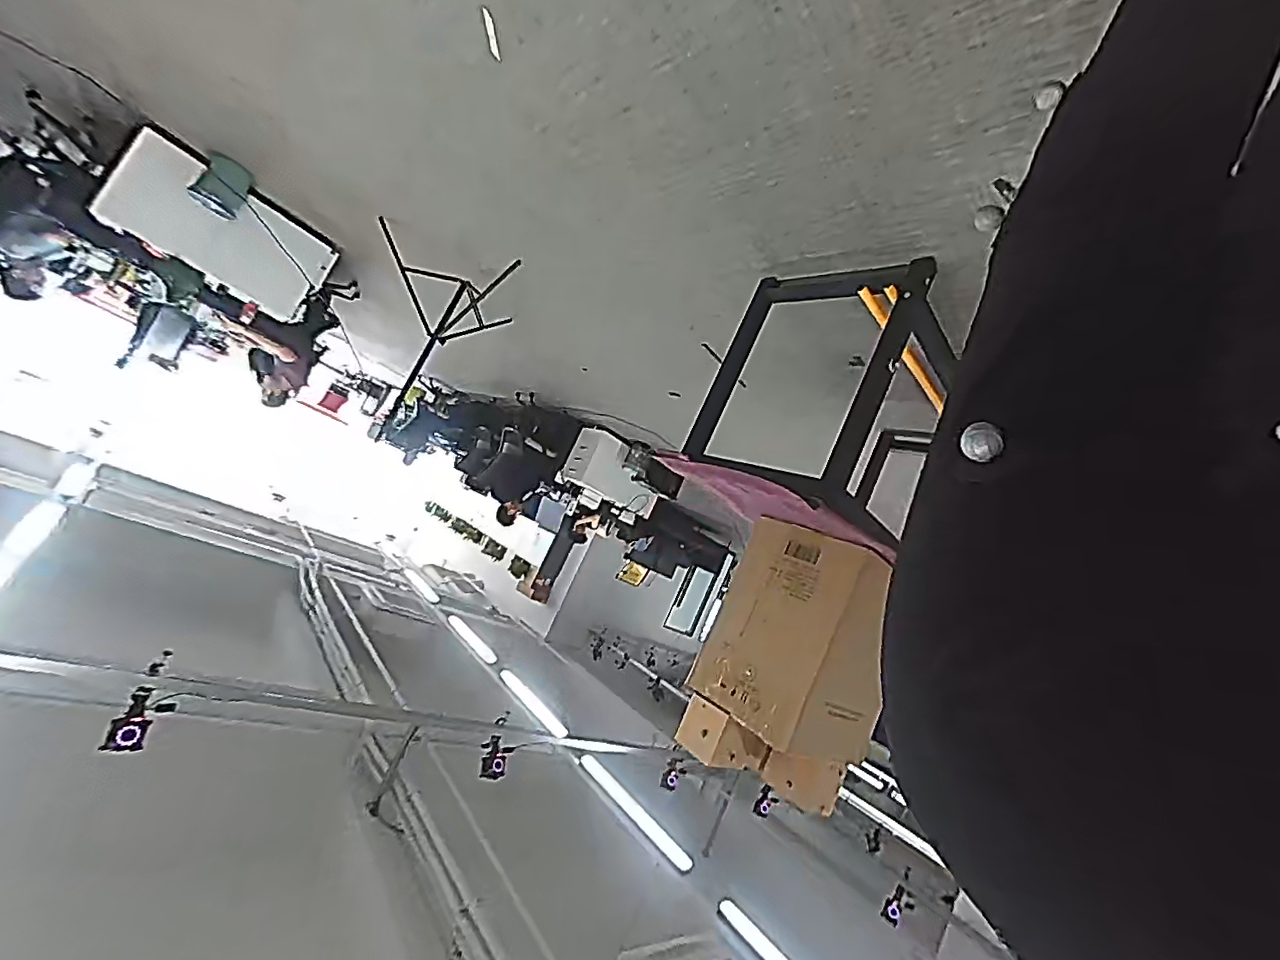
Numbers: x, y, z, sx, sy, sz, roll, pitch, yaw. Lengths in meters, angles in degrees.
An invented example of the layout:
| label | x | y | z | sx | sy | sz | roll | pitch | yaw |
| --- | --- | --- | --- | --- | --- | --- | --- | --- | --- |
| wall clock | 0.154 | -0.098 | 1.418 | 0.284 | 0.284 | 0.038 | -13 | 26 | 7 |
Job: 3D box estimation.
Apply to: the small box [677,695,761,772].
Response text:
| label | x | y | z | sx | sy | sz | roll | pitch | yaw |
| --- | --- | --- | --- | --- | --- | --- | --- | --- | --- |
| small box | 0.257 | 0.812 | 1.746 | 0.179 | 0.176 | 0.168 | 28 | 172 | -35 |
